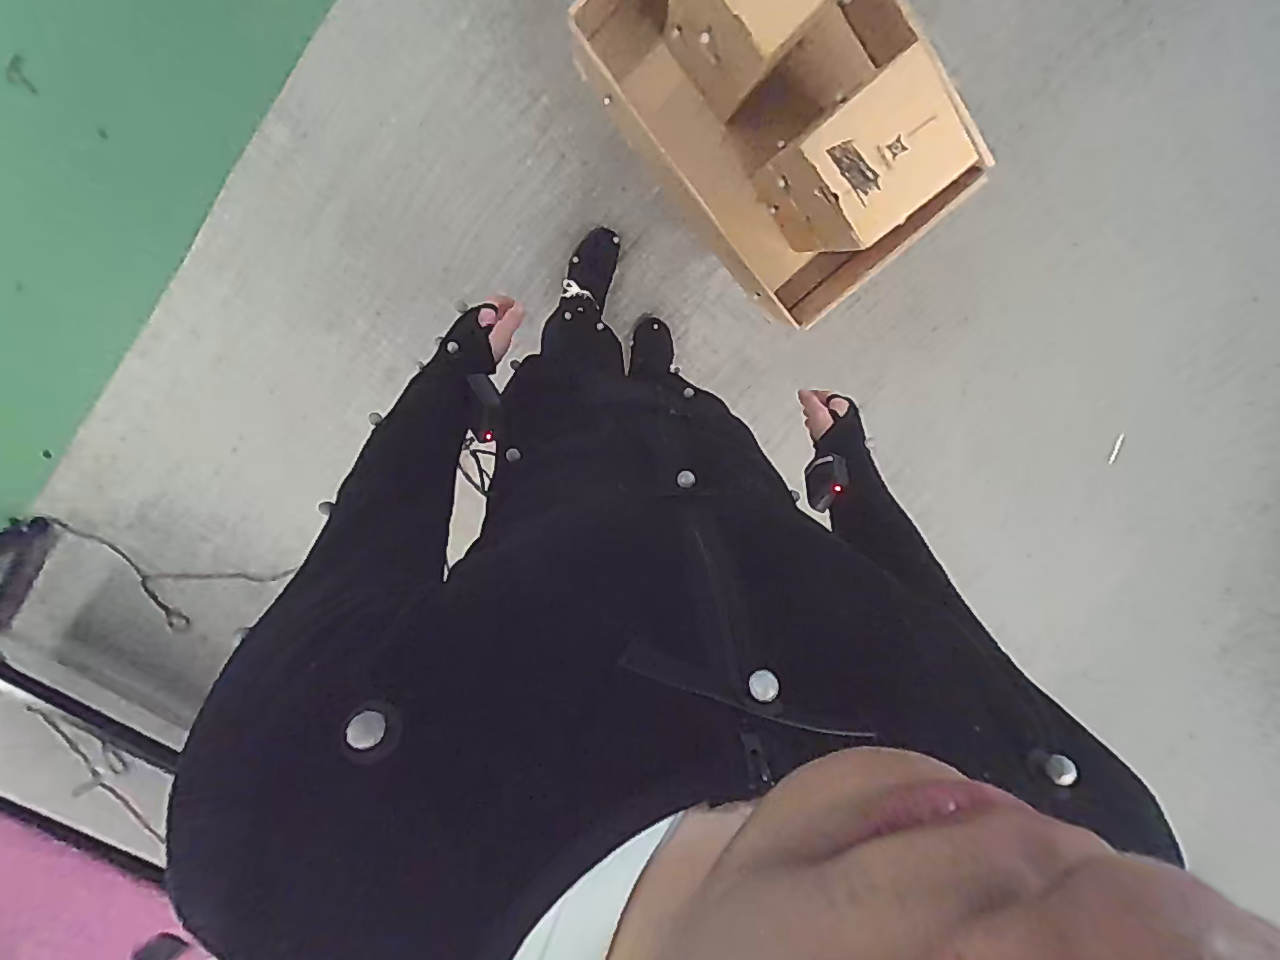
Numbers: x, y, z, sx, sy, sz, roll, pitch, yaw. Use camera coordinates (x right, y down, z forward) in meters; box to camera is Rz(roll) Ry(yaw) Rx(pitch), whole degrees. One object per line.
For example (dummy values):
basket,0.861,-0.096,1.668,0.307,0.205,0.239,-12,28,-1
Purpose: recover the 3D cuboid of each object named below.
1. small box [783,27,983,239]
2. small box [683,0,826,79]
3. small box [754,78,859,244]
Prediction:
small box,0.321,-0.461,0.758,0.179,0.176,0.168,-37,108,13
small box,0.160,-0.657,0.672,0.179,0.176,0.168,-39,107,14
small box,0.318,-0.526,0.910,0.179,0.176,0.168,-38,108,15
